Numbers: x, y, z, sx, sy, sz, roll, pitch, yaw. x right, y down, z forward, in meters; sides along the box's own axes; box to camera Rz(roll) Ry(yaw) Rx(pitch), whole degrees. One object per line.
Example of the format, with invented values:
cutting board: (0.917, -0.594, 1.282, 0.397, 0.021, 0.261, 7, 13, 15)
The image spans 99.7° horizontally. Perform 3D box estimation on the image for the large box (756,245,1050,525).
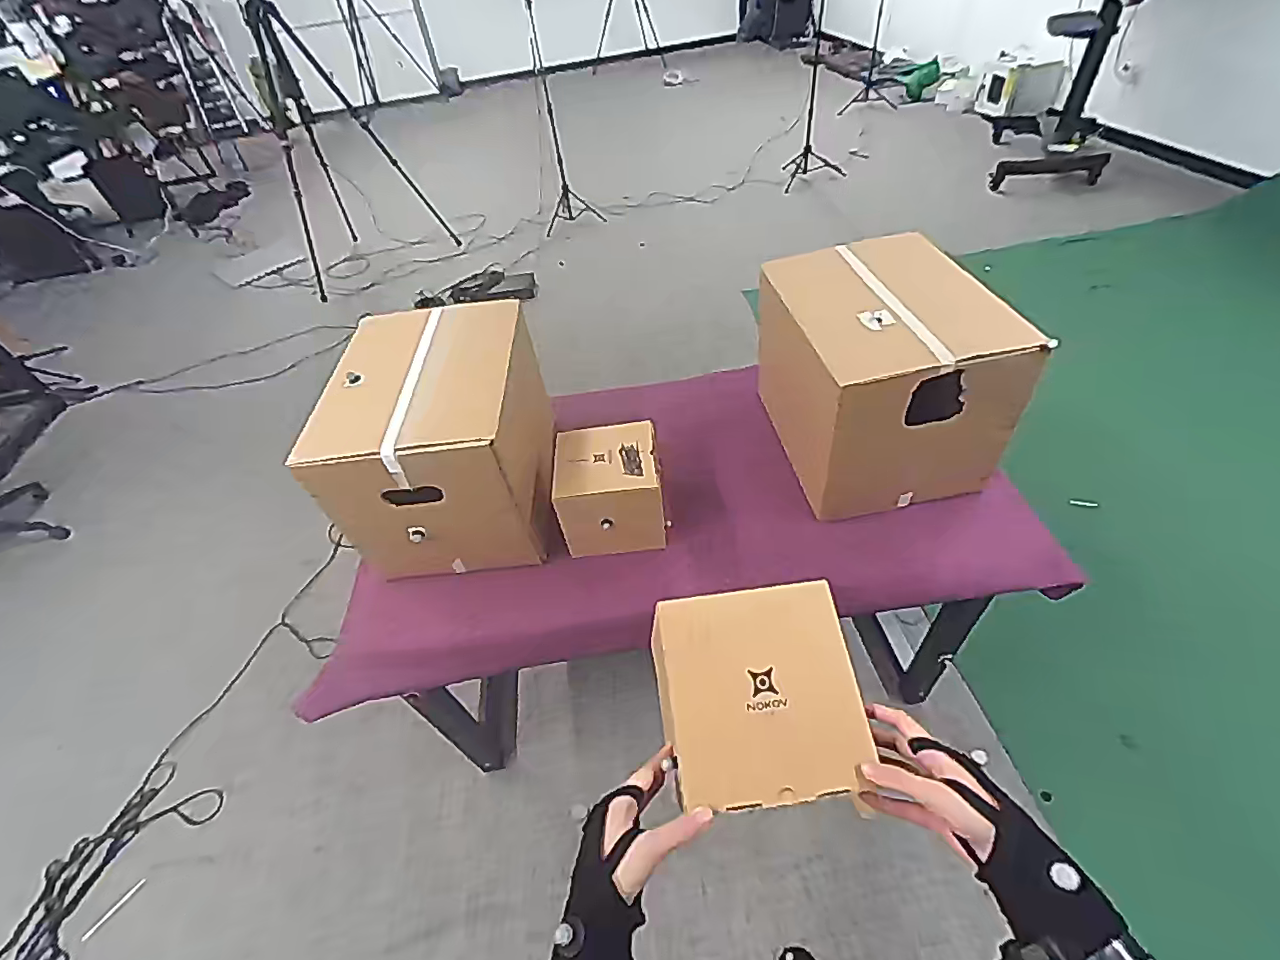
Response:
large box: (0.425, -0.184, 1.011, 0.320, 0.320, 0.408, -12, 46, 1)

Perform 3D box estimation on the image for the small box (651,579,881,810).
small box: (0.103, 0.214, 0.539, 0.168, 0.176, 0.179, -6, 63, -4)
